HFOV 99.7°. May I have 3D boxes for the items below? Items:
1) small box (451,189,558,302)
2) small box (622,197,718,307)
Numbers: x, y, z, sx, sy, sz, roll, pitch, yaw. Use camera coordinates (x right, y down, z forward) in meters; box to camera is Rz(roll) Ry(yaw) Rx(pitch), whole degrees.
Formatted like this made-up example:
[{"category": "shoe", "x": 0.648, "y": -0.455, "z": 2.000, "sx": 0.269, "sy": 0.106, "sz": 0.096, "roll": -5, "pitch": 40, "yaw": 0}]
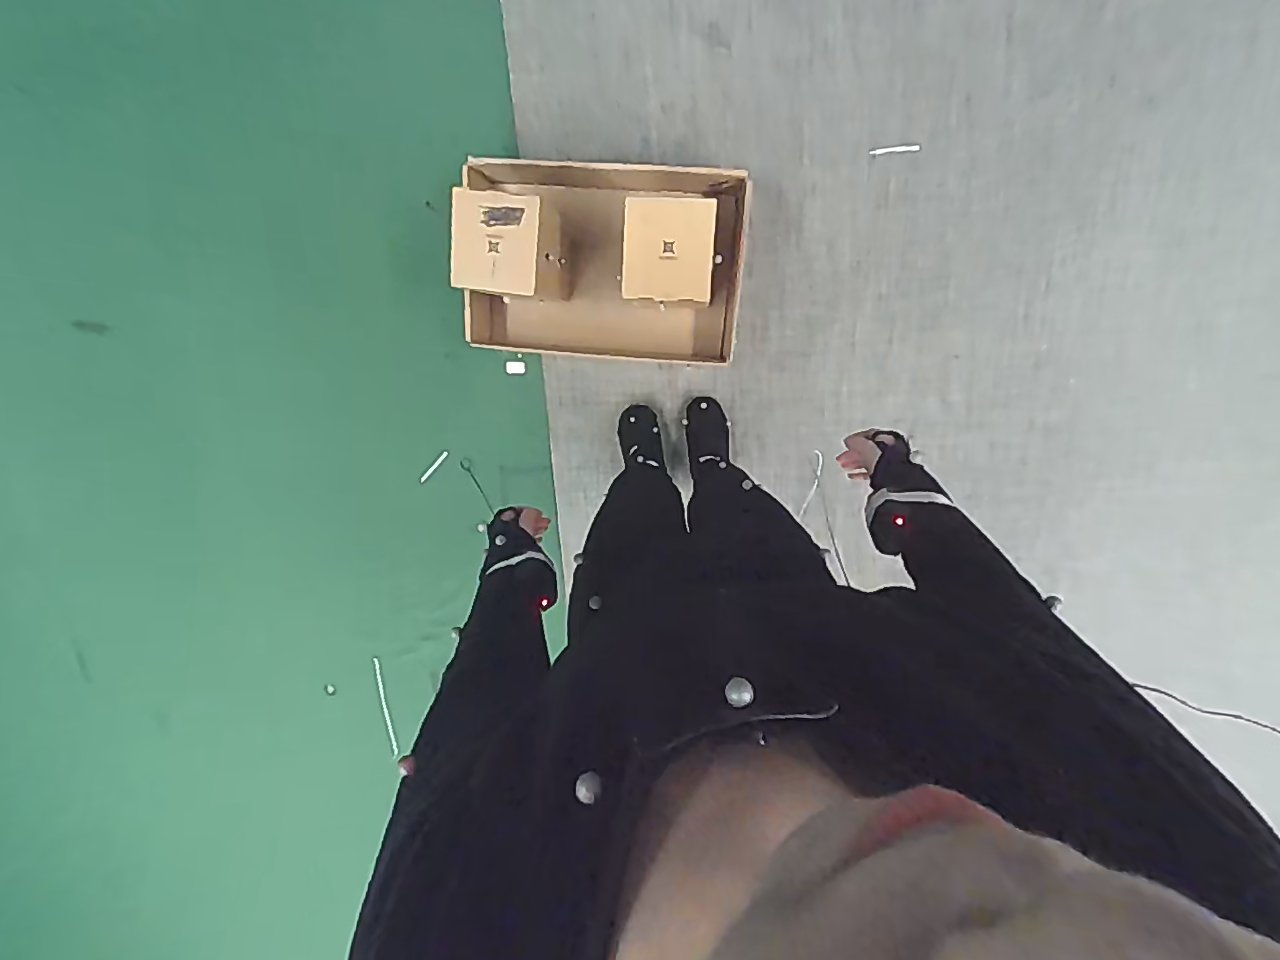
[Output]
[{"category": "small box", "x": -0.264, "y": -0.459, "z": 1.081, "sx": 0.168, "sy": 0.176, "sz": 0.179, "roll": 8, "pitch": 107, "yaw": 2}, {"category": "small box", "x": 0.058, "y": -0.437, "z": 1.057, "sx": 0.168, "sy": 0.176, "sz": 0.179, "roll": 4, "pitch": 107, "yaw": 5}]
